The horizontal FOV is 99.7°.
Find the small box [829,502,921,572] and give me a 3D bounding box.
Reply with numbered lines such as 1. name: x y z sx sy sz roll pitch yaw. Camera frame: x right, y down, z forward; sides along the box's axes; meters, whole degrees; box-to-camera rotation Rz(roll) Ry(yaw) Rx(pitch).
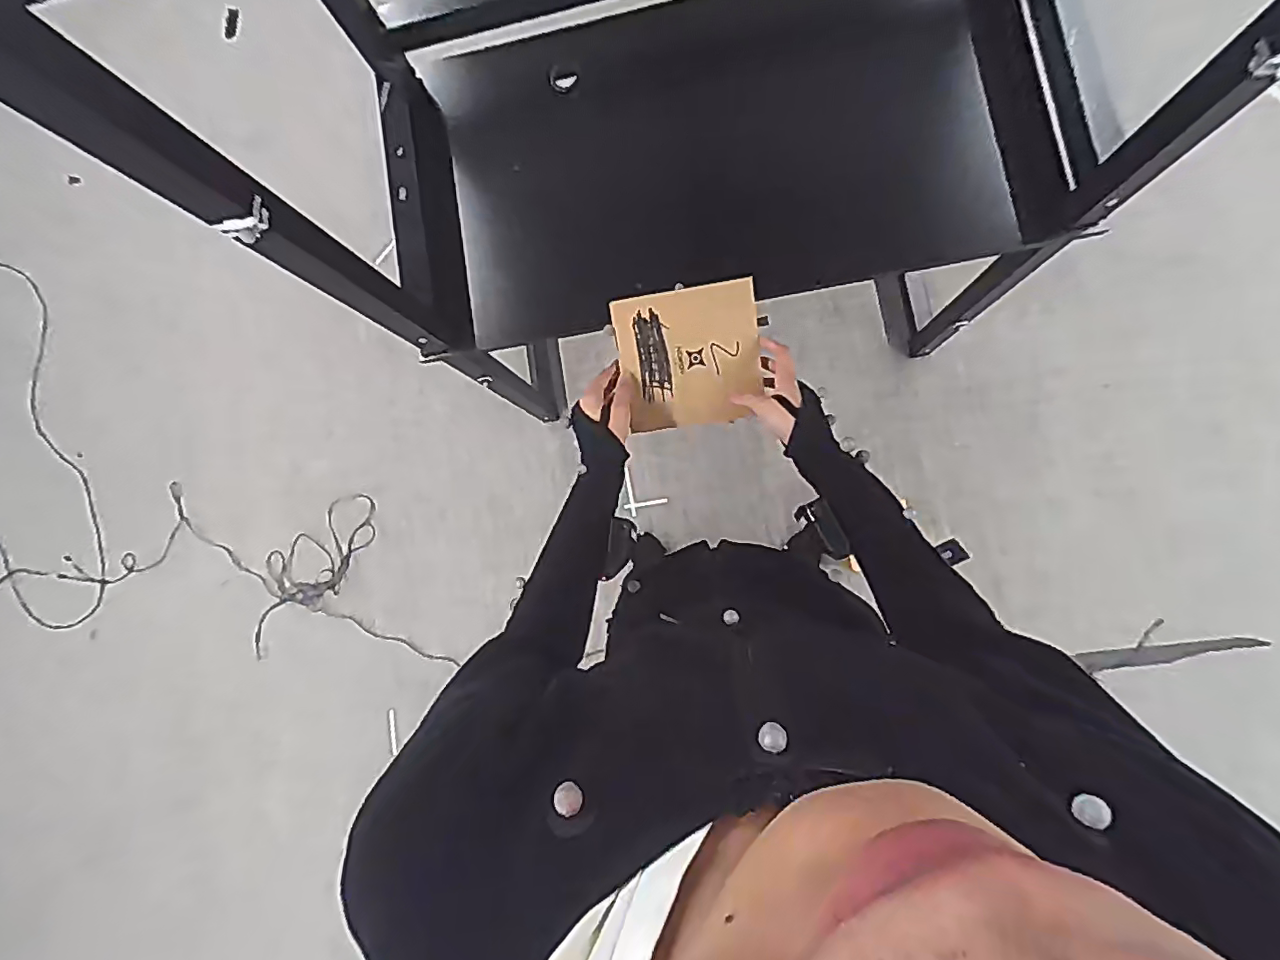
1. small box: 0.644 0.155 1.499 0.179 0.176 0.168 -11 84 7
